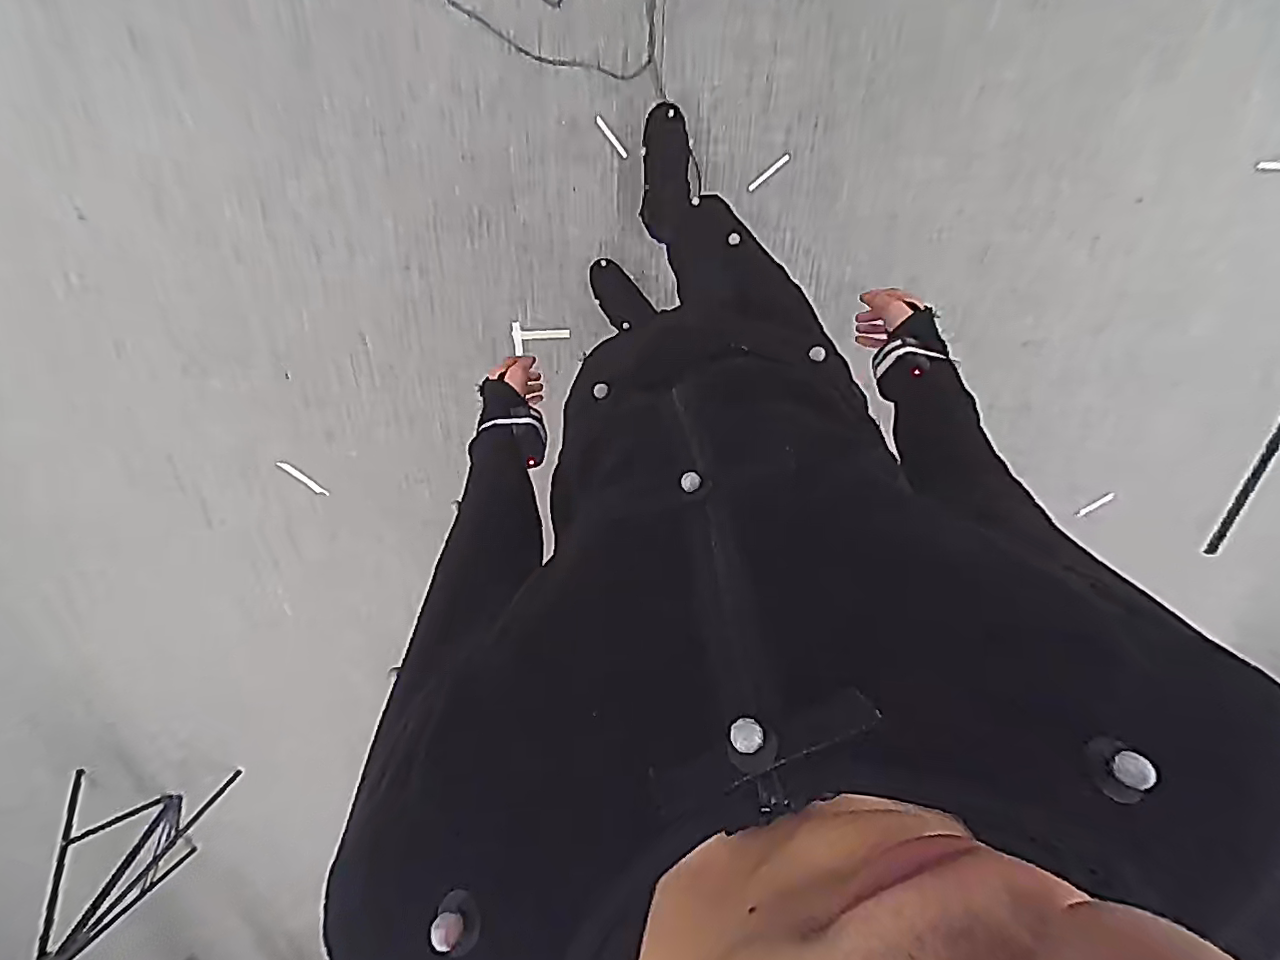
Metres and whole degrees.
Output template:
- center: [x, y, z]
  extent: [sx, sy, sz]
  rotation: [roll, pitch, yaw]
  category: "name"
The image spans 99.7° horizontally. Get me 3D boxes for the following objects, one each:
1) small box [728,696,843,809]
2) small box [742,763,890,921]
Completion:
- center: [0.277, 0.551, 1.078]
  extent: [0.168, 0.176, 0.179]
  rotation: [1, 117, -4]
  category: "small box"
- center: [0.286, 0.609, 0.922]
  extent: [0.179, 0.176, 0.168]
  rotation: [1, 116, -4]
  category: "small box"
